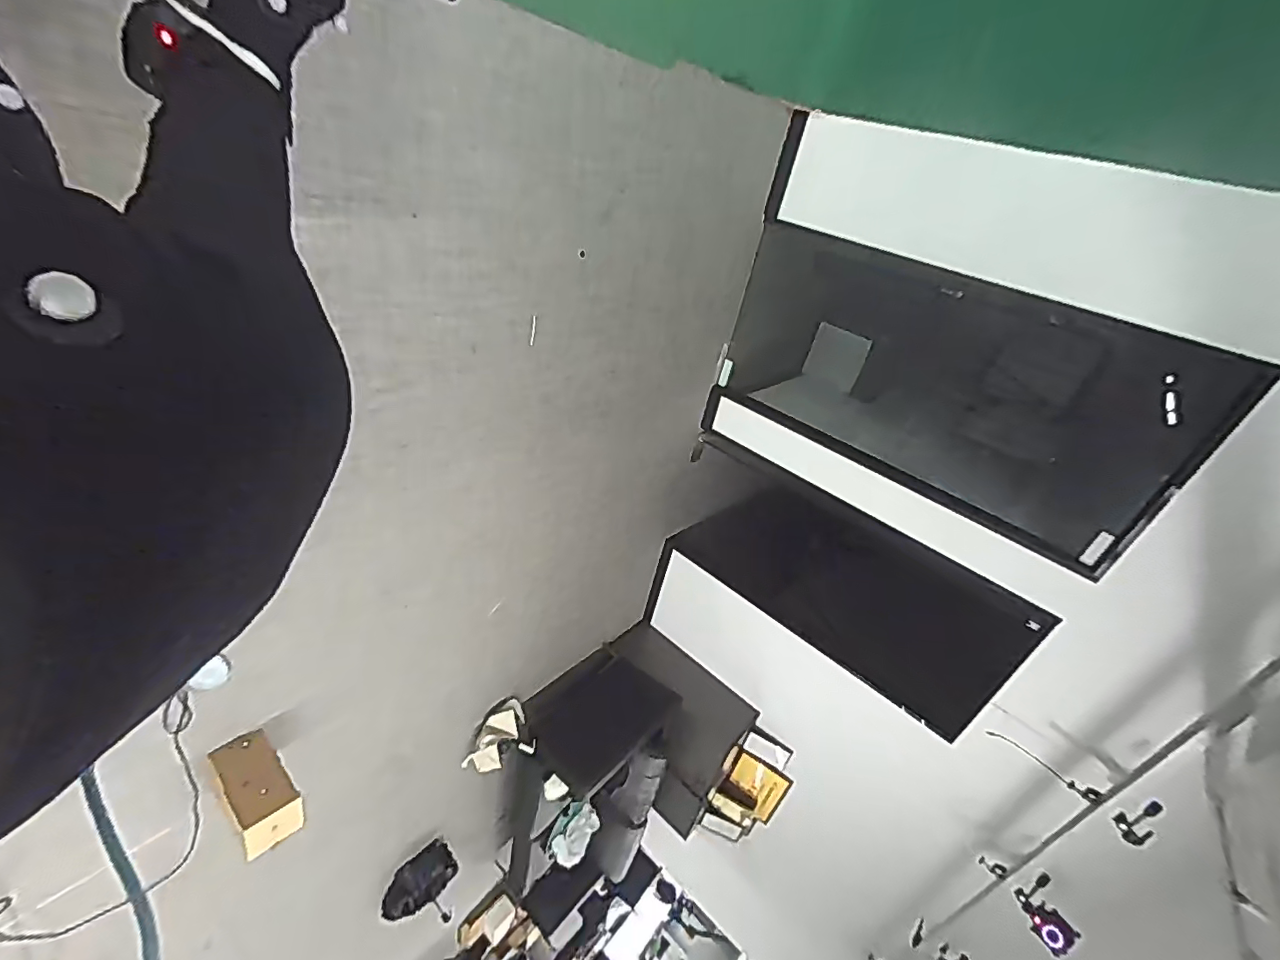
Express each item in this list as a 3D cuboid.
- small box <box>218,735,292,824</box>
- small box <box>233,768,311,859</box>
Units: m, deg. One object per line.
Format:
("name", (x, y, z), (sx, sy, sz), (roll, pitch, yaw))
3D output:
("small box", (-1.336, 1.032, 1.877), (0.168, 0.176, 0.179), (-18, 133, -50))
("small box", (-1.227, 1.098, 1.803), (0.168, 0.176, 0.179), (-20, 135, -49))
